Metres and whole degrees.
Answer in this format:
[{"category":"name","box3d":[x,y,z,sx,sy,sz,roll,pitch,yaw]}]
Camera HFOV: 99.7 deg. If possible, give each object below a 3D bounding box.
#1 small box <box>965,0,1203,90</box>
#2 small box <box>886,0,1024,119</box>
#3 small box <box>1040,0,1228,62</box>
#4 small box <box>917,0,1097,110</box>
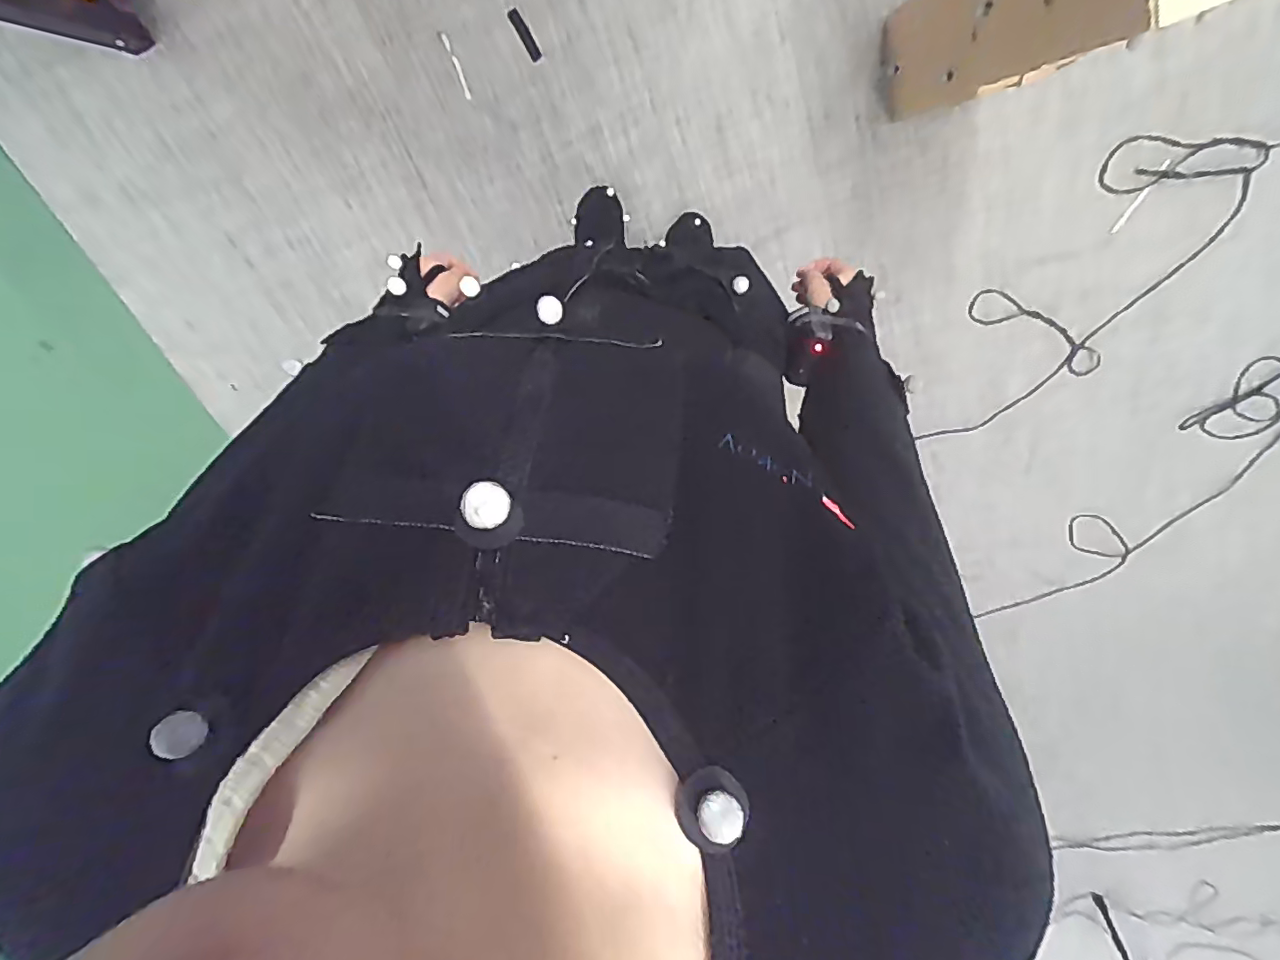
[{"category":"small box","box3d":[0.522,-0.602,0.648,0.179,0.176,0.168,-15,116,11]},{"category":"small box","box3d":[0.543,-0.750,0.938,0.168,0.176,0.179,-14,118,9]},{"category":"small box","box3d":[0.508,-0.528,0.501,0.179,0.176,0.168,-18,117,10]},{"category":"small box","box3d":[0.532,-0.674,0.796,0.168,0.176,0.179,-17,115,11]}]
